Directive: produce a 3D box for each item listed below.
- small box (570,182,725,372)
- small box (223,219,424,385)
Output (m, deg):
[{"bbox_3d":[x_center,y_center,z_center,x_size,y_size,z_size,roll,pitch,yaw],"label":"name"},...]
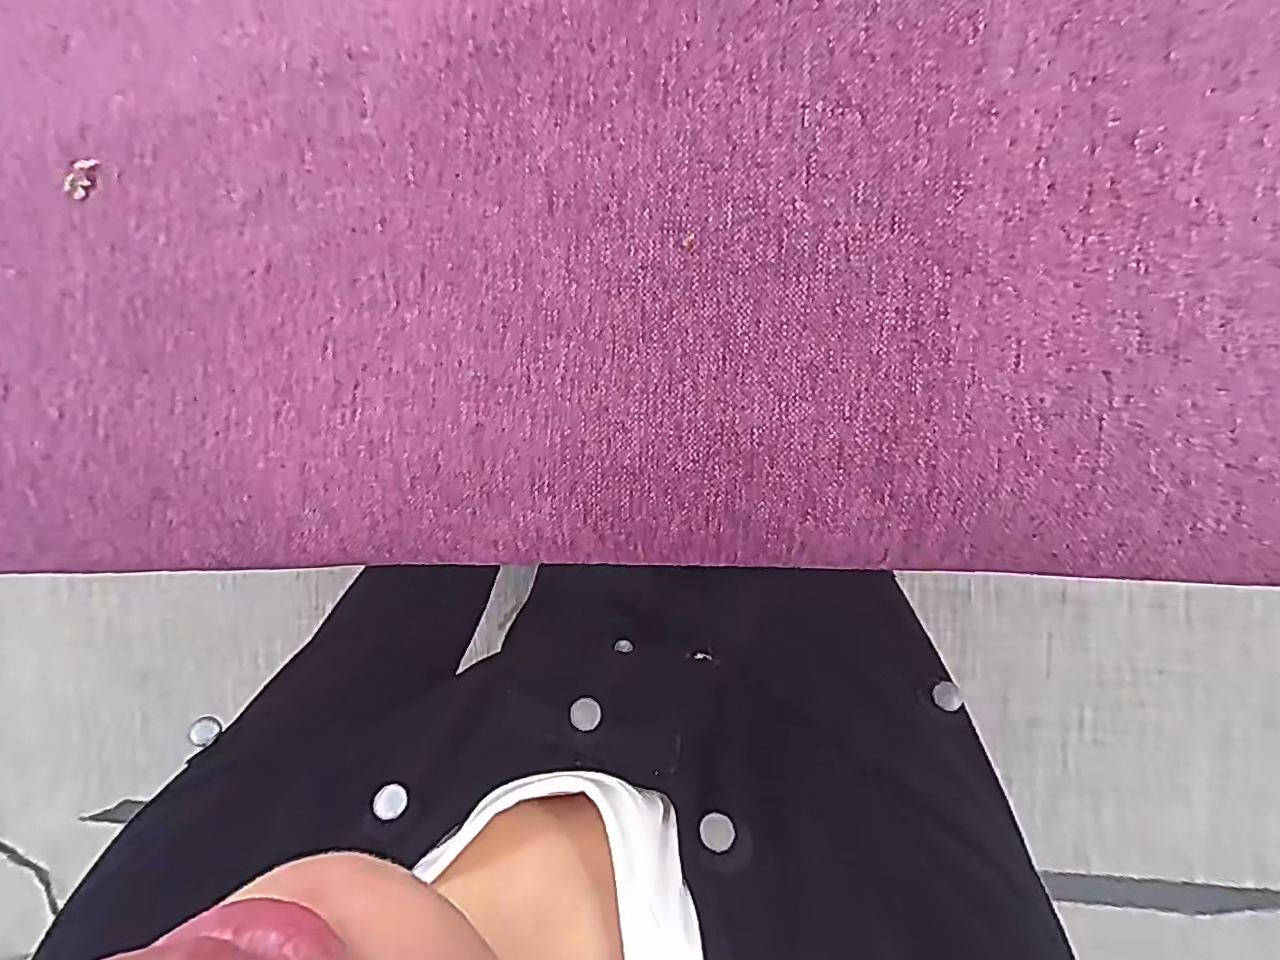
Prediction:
[{"bbox_3d":[0.017,-0.239,0.679,0.168,0.176,0.179,-4,95,9],"label":"small box"},{"bbox_3d":[-0.412,-0.227,0.731,0.168,0.176,0.179,-1,95,7],"label":"small box"}]
